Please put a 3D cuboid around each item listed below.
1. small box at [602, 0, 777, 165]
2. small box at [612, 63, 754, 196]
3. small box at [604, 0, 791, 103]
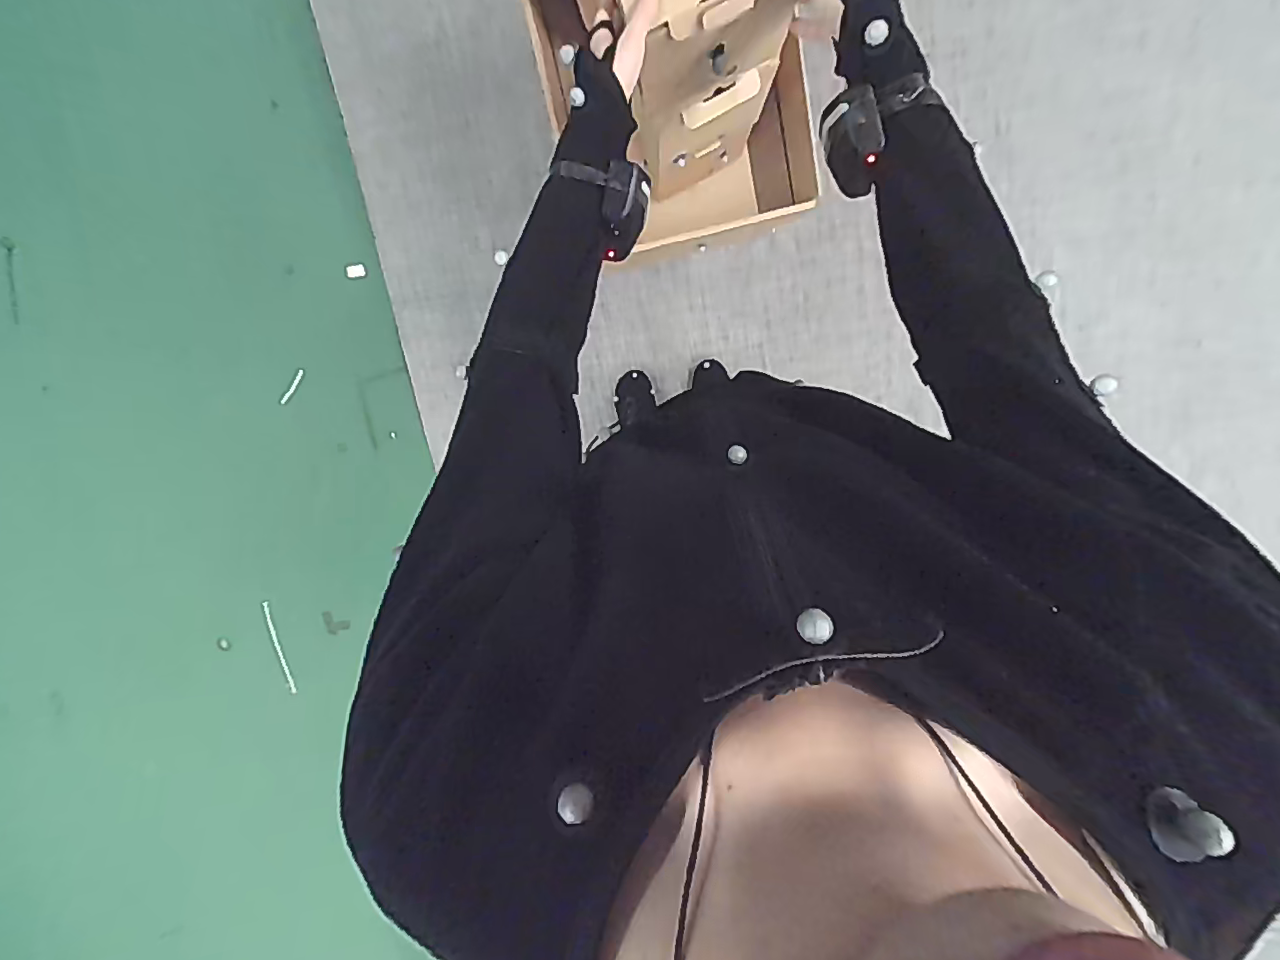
[{"bbox_3d":[0.065,-0.563,0.735,0.168,0.176,0.179,-25,98,7],"label":"small box"},{"bbox_3d":[0.071,-0.599,0.894,0.168,0.176,0.179,-25,99,7],"label":"small box"},{"bbox_3d":[0.045,-0.503,0.520,0.168,0.176,0.179,-20,103,9],"label":"small box"}]
